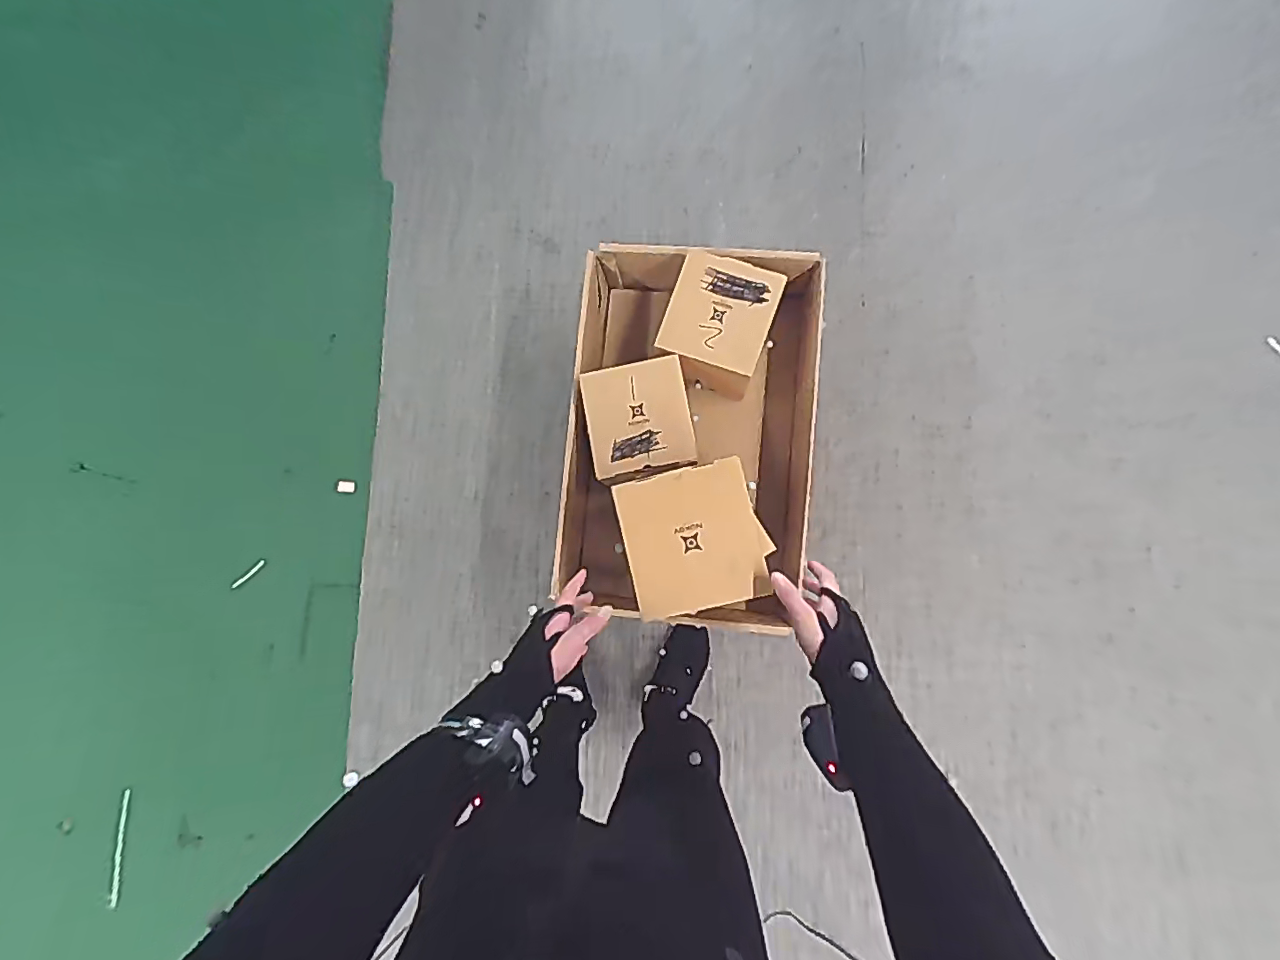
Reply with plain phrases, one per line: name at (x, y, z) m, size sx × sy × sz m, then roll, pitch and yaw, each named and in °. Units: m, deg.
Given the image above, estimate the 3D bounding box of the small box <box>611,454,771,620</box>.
small box at (0.071, 0.075, 0.737) m, size 0.168 × 0.176 × 0.179 m, roll -14°, pitch 84°, yaw 5°
